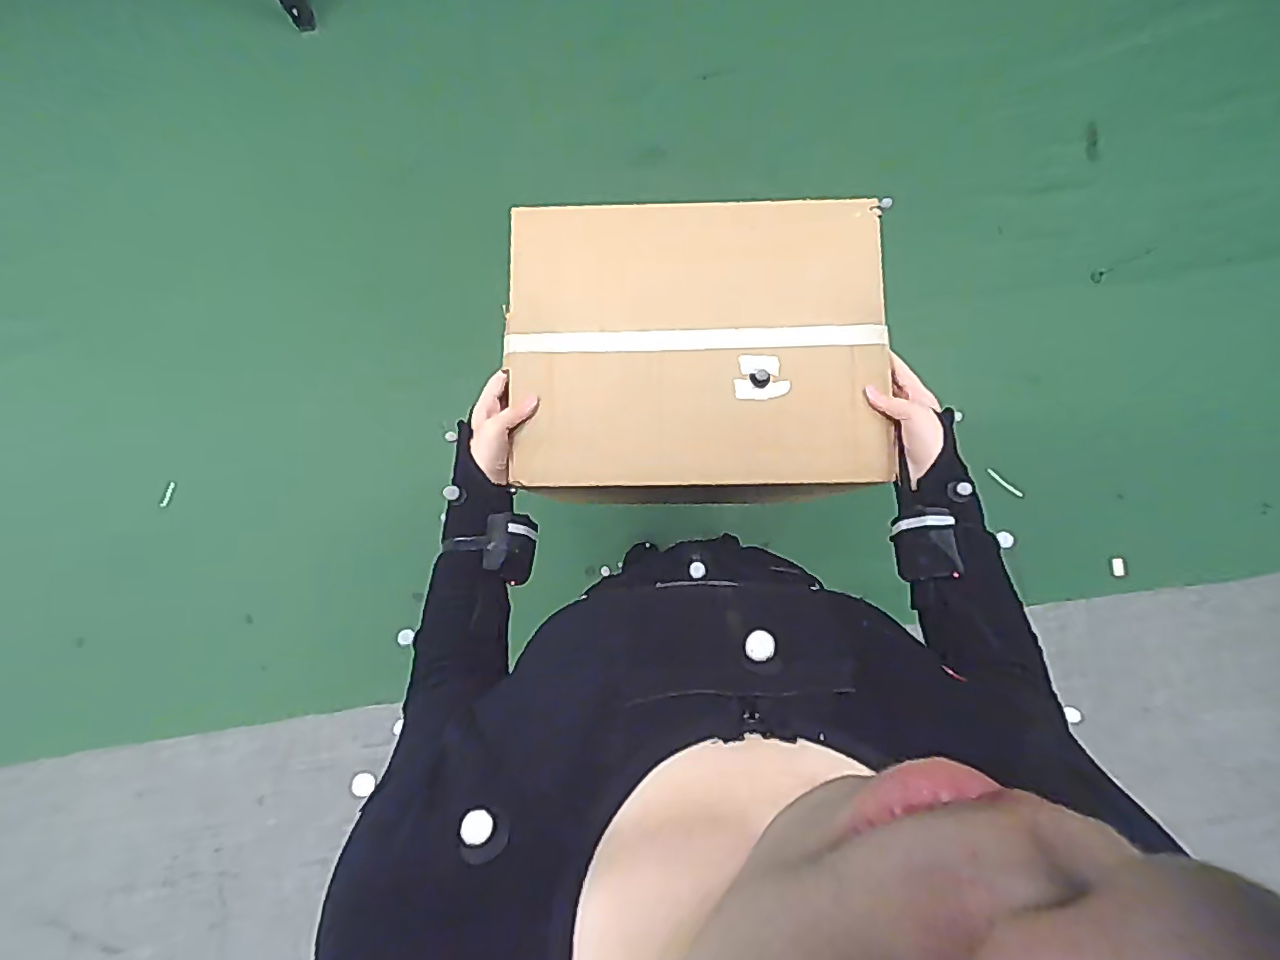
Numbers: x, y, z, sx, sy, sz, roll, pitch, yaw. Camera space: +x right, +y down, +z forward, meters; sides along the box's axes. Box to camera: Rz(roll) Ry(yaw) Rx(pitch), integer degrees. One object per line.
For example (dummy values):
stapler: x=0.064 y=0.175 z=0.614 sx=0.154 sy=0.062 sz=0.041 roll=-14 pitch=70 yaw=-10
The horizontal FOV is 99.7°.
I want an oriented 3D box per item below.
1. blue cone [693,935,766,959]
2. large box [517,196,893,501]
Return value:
blue cone: x=0.232 y=1.279 z=1.248 sx=0.193 sy=0.380 sz=0.192 roll=-1 pitch=84 yaw=2
large box: x=0.065 y=-0.141 z=0.733 sx=0.408 sy=0.320 sz=0.320 roll=-1 pitch=85 yaw=0
